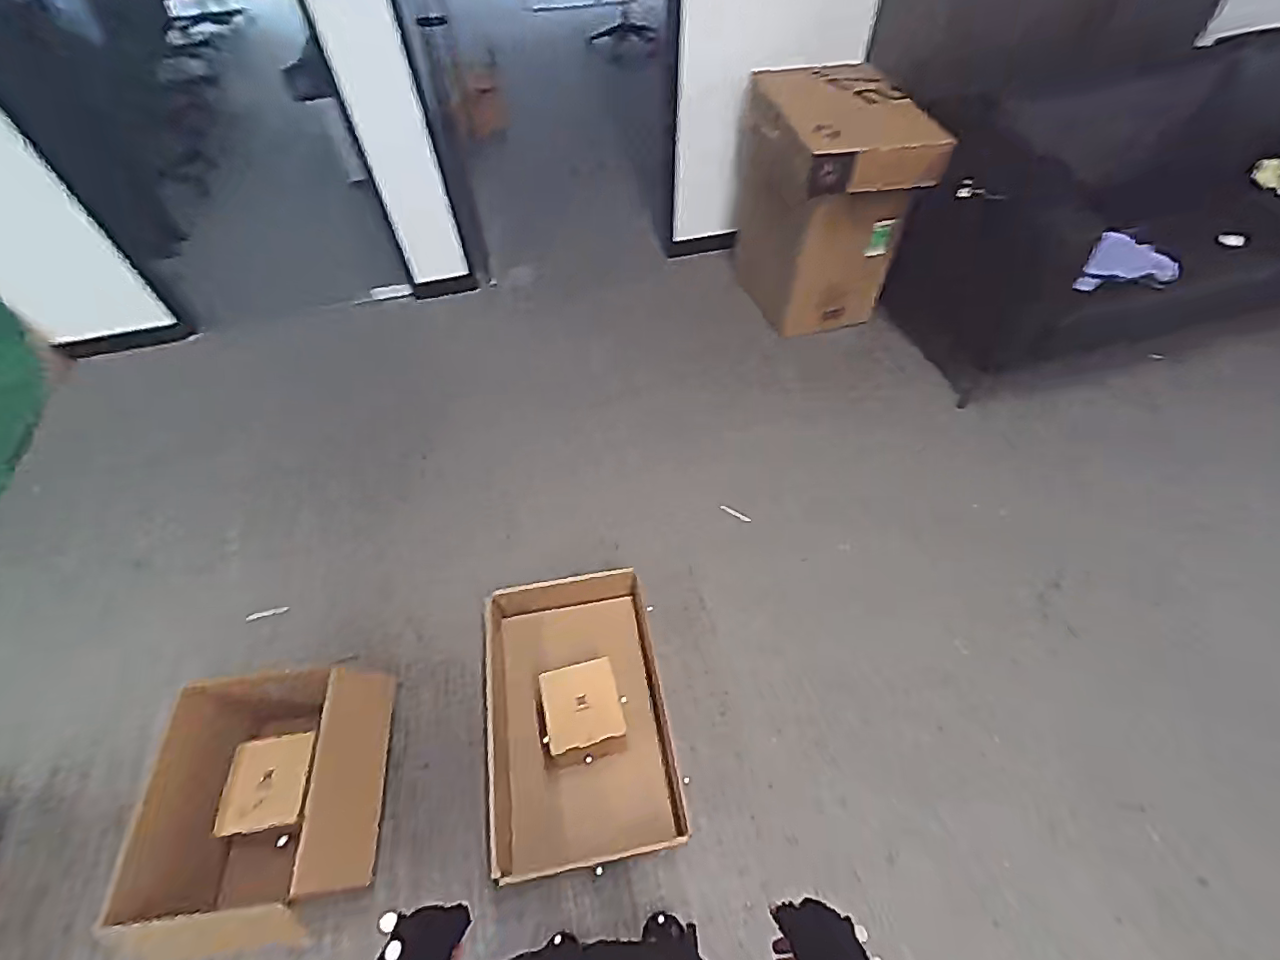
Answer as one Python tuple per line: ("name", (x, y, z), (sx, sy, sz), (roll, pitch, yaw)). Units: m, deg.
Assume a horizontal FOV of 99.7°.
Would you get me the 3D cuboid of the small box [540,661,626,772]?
("small box", (-0.131, 0.550, 1.253), (0.168, 0.176, 0.179), (-12, 53, -9))
